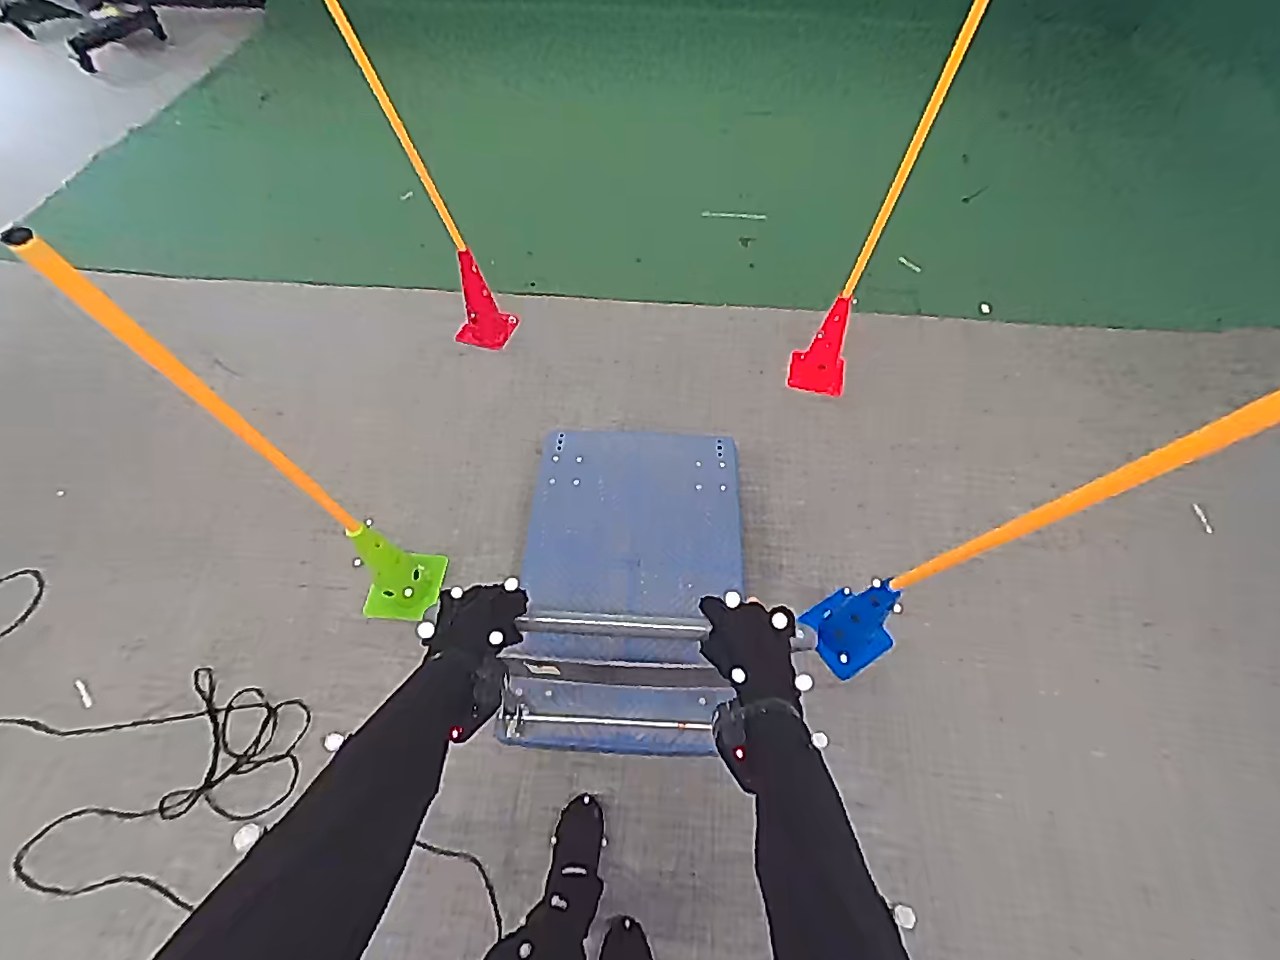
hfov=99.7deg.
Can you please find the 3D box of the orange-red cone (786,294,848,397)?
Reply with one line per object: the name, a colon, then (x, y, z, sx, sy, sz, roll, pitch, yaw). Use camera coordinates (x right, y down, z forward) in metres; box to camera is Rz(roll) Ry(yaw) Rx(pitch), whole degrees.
orange-red cone: (0.654, -0.488, 1.881, 0.198, 0.360, 0.199, 13, 59, 9)
